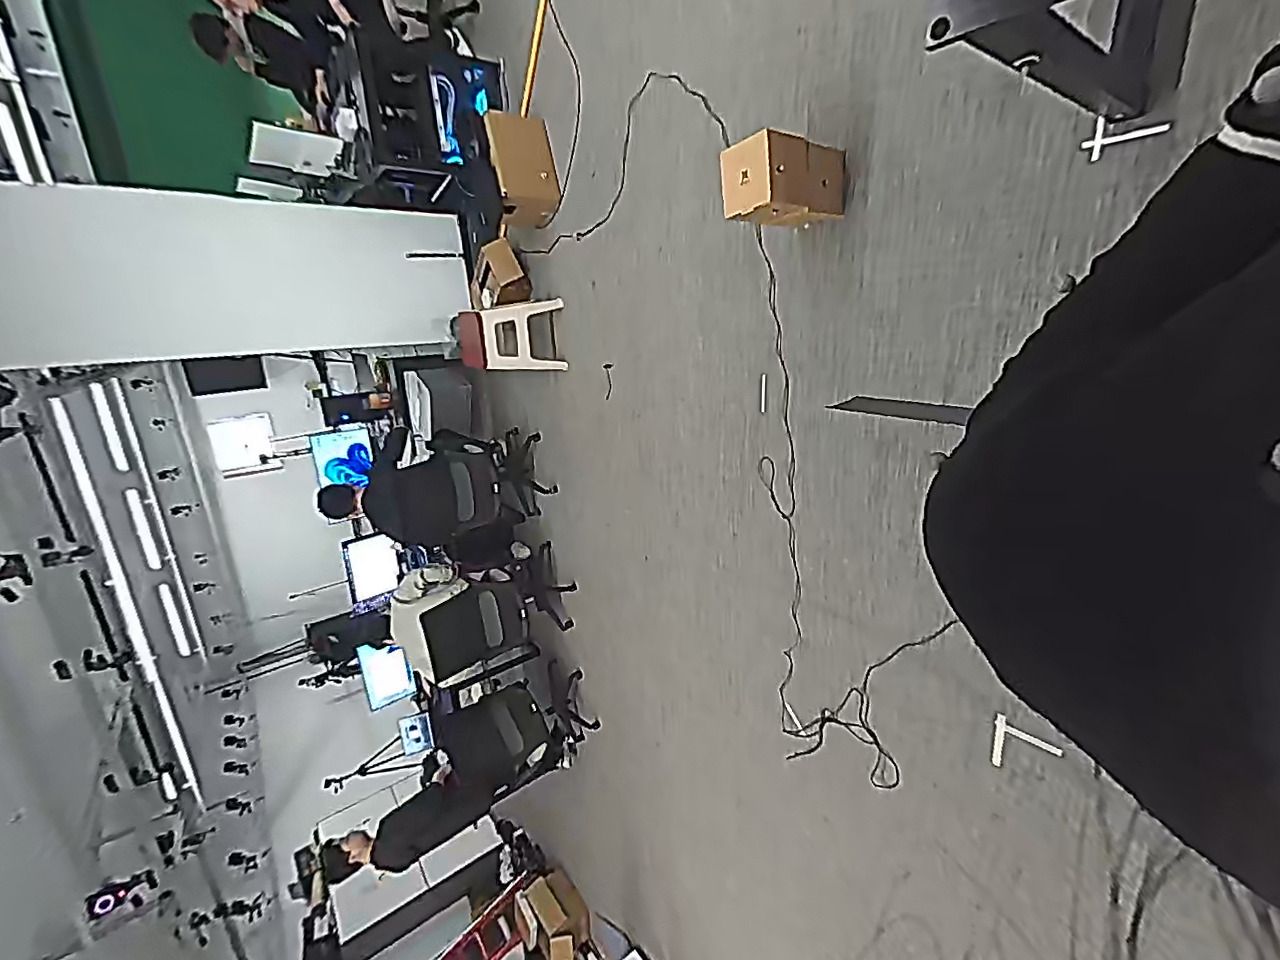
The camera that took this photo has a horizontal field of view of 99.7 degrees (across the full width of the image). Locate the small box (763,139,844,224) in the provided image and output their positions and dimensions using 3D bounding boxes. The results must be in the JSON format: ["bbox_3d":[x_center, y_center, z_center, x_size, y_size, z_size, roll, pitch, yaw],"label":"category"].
[{"bbox_3d":[0.475,-0.855,1.568,0.168,0.176,0.179,14,115,52],"label":"small box"}]

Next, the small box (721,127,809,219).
[{"bbox_3d":[0.344,-0.826,1.476,0.168,0.176,0.179,9,109,52],"label":"small box"}]
